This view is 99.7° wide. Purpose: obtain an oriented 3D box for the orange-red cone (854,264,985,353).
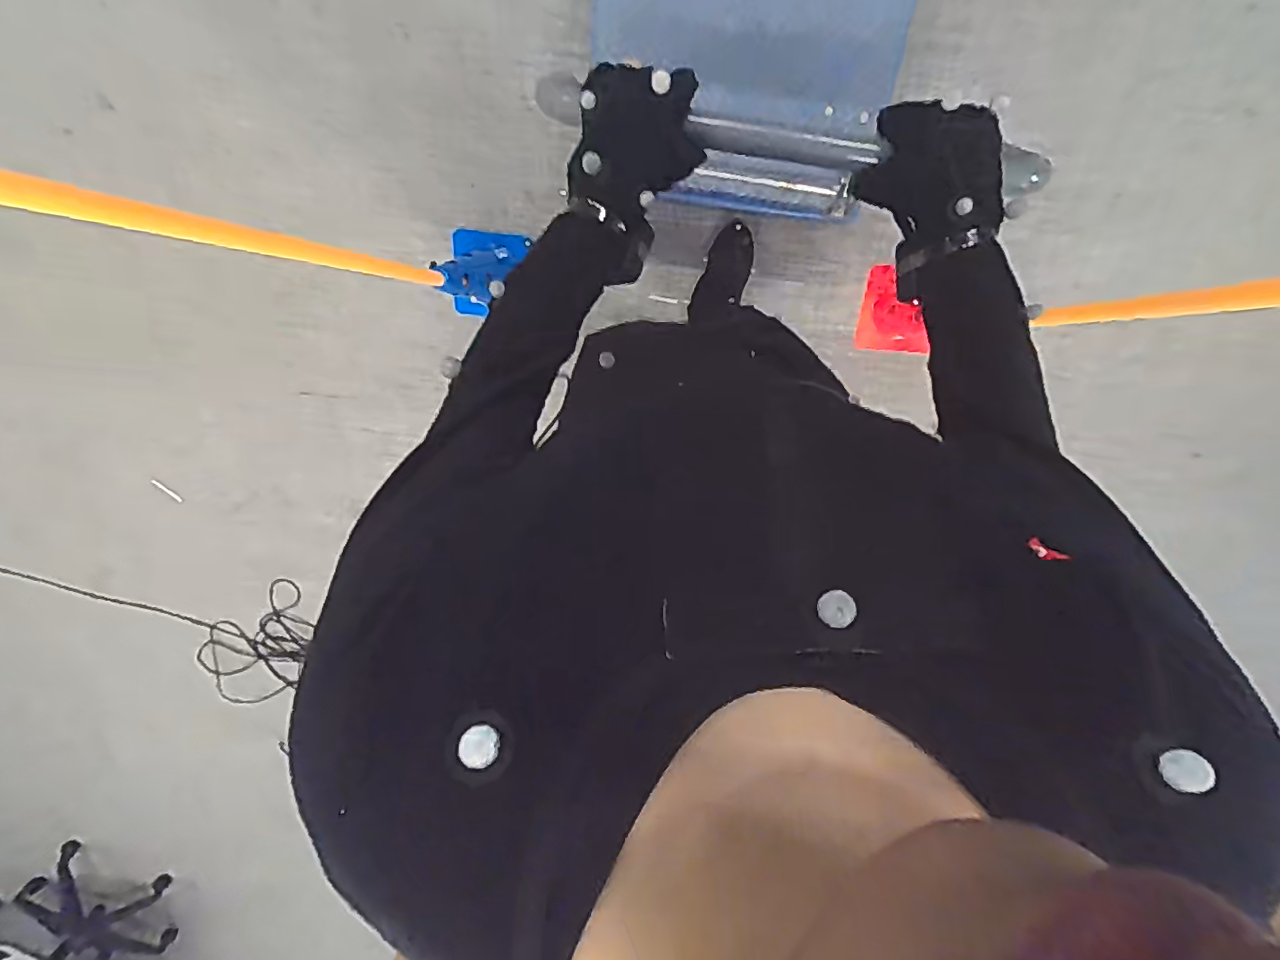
[{"bbox_3d":[0.635,-0.361,1.175,0.199,0.360,0.198,7,111,1],"label":"orange-red cone"}]
